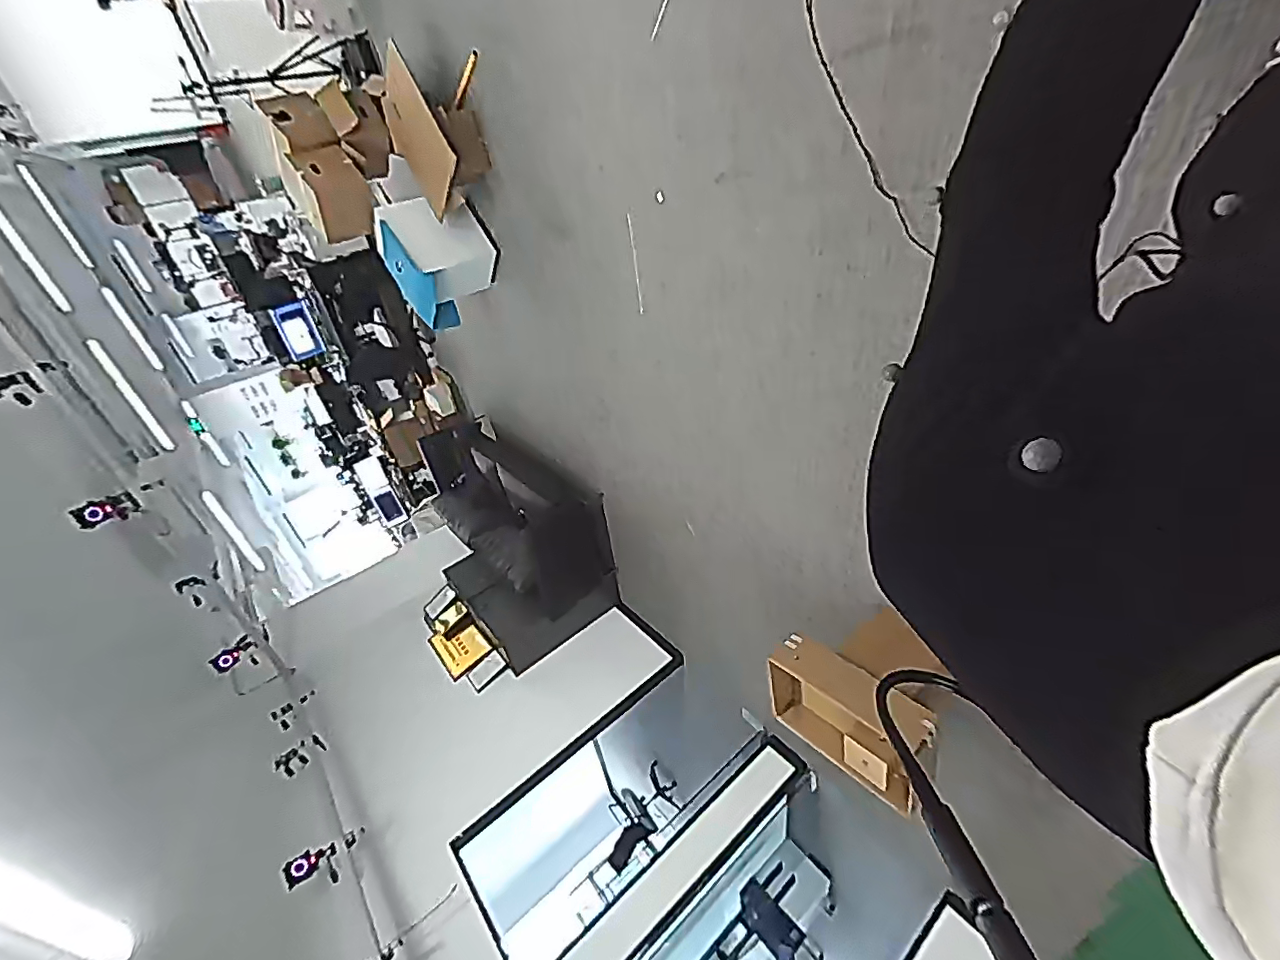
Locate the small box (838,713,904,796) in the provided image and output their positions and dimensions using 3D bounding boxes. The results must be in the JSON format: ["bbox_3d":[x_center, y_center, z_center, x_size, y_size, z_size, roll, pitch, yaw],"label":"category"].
[{"bbox_3d":[0.845,0.994,1.975,0.168,0.176,0.179,24,136,46],"label":"small box"}]
